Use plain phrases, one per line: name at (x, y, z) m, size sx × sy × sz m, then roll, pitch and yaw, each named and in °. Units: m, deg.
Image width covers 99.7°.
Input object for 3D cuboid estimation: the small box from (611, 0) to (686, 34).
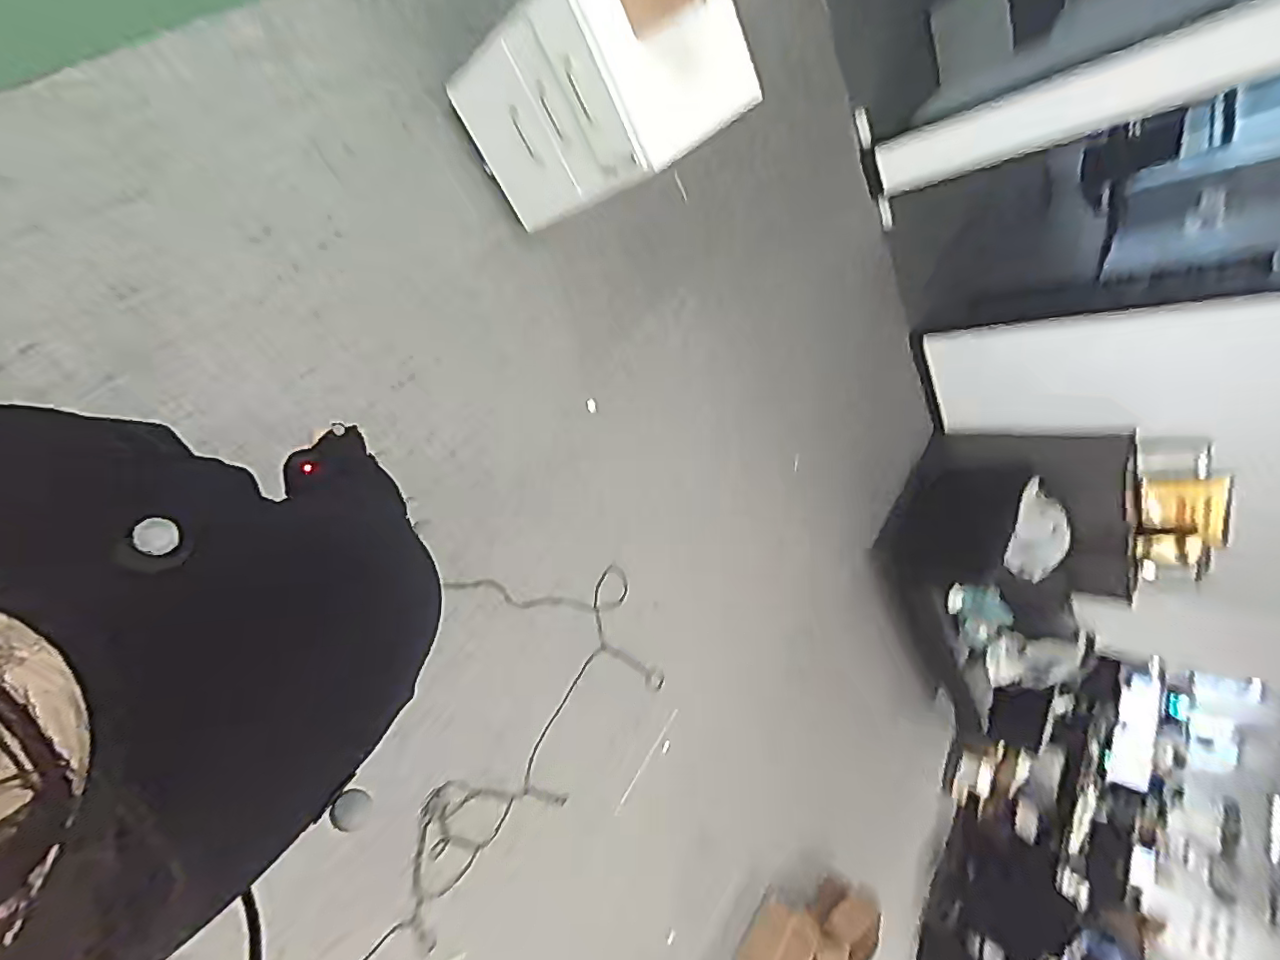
small box at (0.028, -1.065, 1.097) m, size 0.168 × 0.176 × 0.179 m, roll -50°, pitch 125°, yaw -27°
